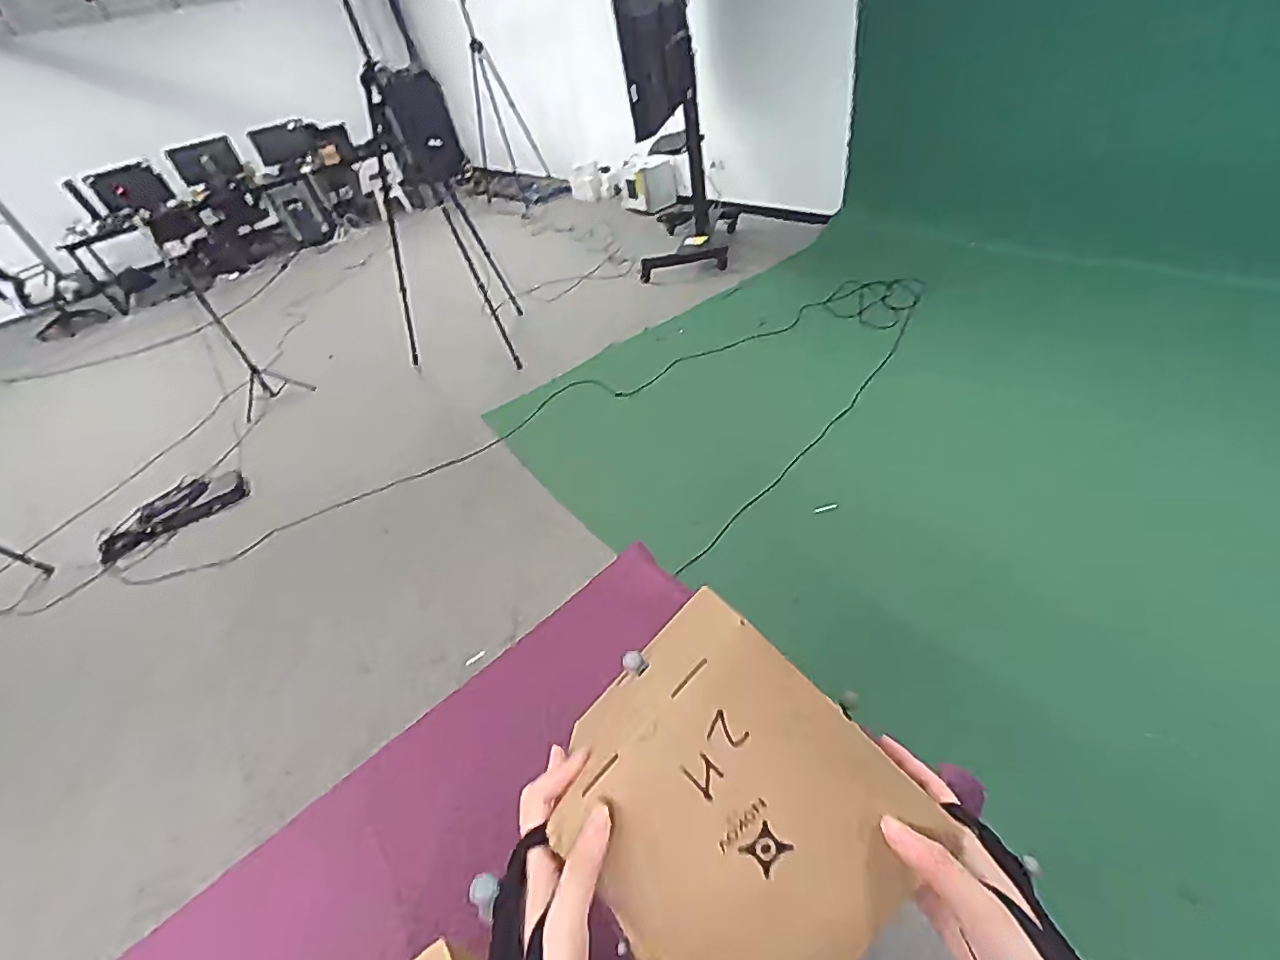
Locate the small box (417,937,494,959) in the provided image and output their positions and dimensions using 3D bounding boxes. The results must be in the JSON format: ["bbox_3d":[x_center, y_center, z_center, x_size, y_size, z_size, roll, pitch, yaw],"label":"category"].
[{"bbox_3d":[-0.194,0.585,0.497,0.179,0.176,0.168,-33,44,-20],"label":"small box"}]

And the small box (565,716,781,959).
[{"bbox_3d":[0.041,0.421,0.620,0.168,0.176,0.179,-32,44,-20],"label":"small box"}]
